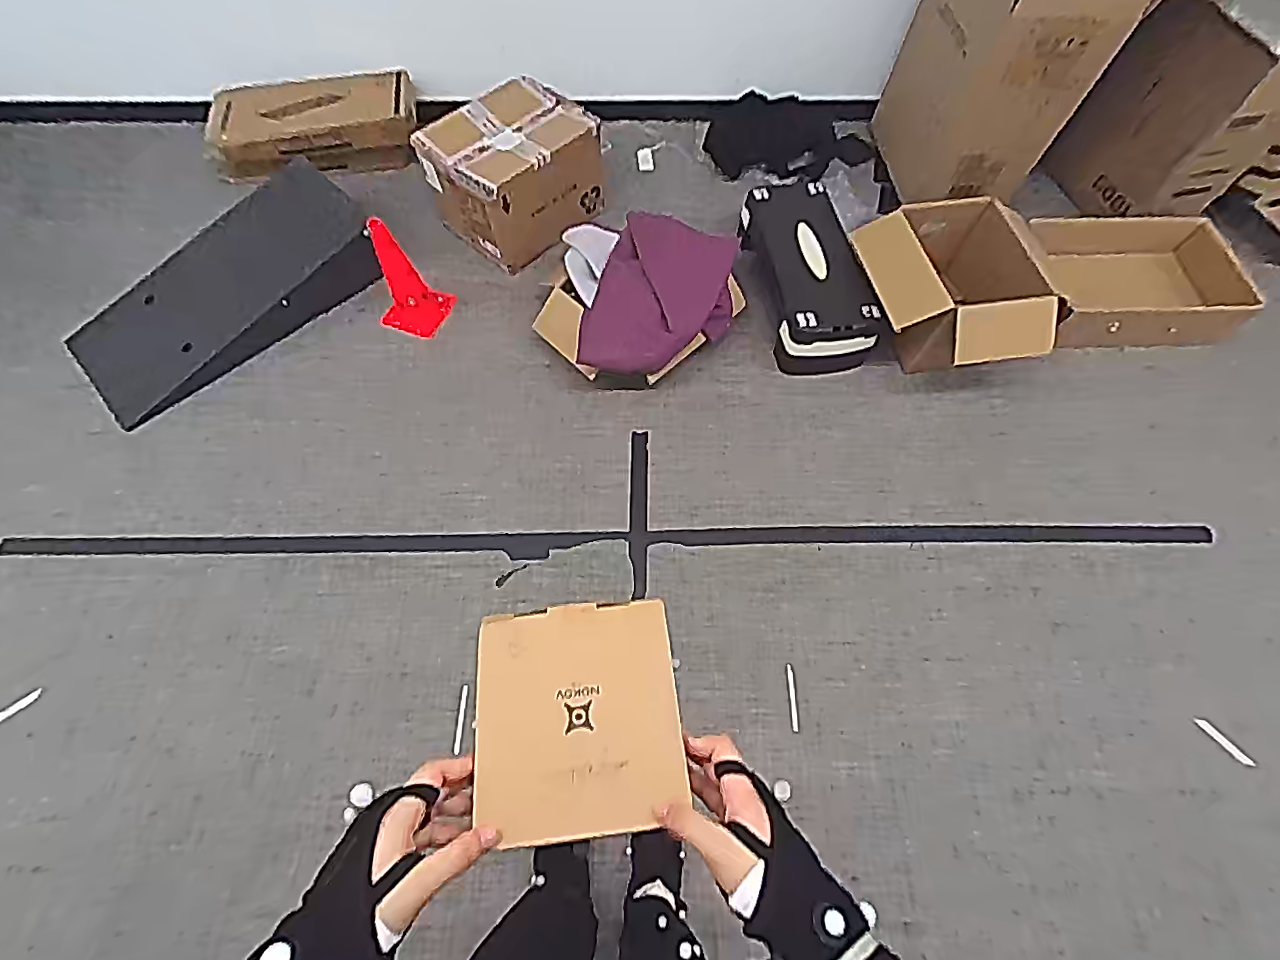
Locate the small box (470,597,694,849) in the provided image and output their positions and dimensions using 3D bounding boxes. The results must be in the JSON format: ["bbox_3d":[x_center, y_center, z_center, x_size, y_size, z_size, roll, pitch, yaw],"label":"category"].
[{"bbox_3d":[-0.052,0.226,0.503,0.168,0.176,0.179,-5,60,-4],"label":"small box"}]
